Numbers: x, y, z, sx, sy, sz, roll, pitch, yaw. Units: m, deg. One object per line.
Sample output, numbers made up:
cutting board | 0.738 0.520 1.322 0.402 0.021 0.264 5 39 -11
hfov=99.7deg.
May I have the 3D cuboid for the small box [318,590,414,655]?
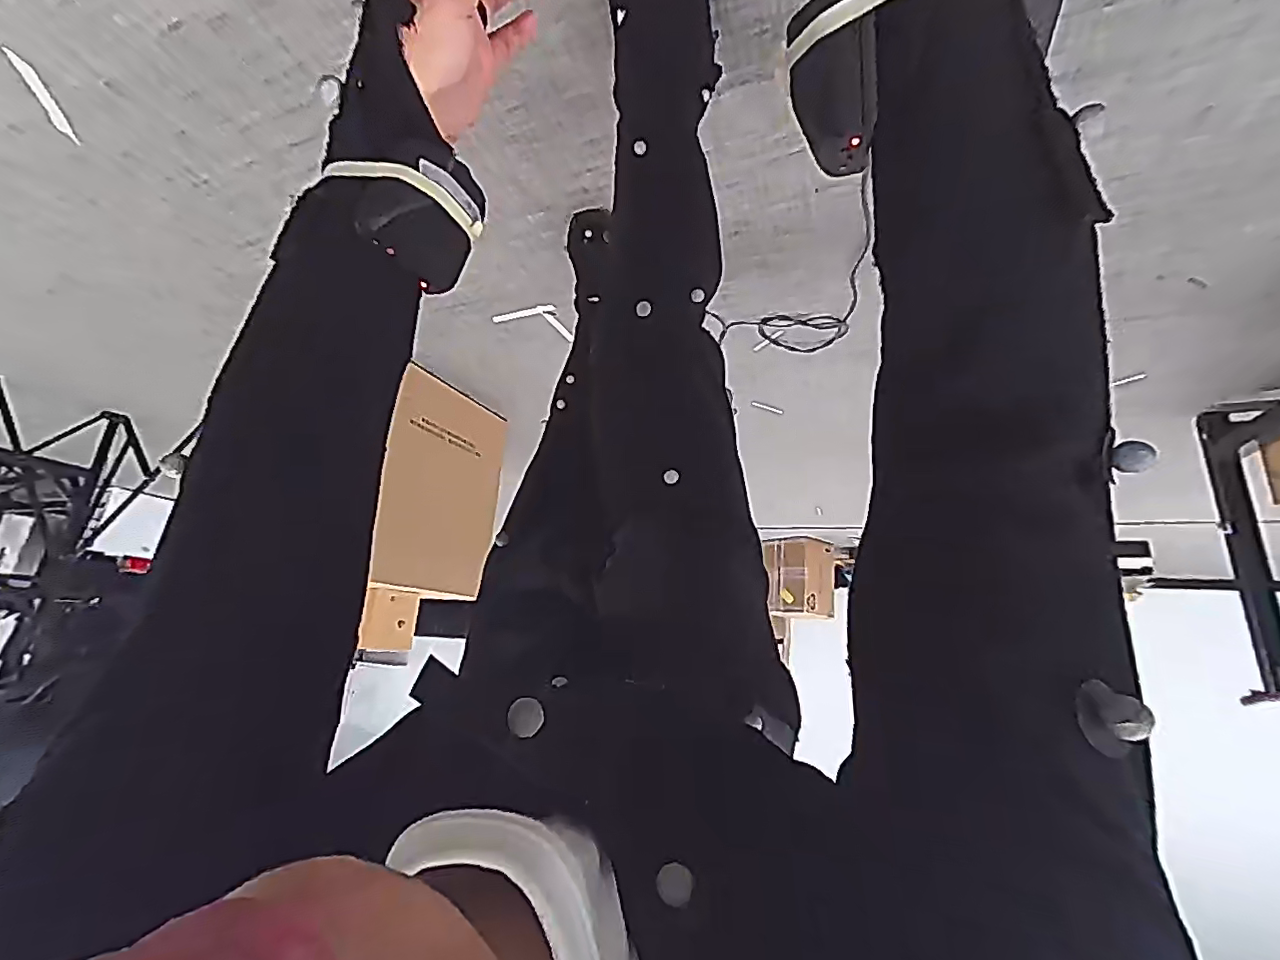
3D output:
small box | -0.769 0.403 1.535 0.179 0.176 0.168 -2 163 22
